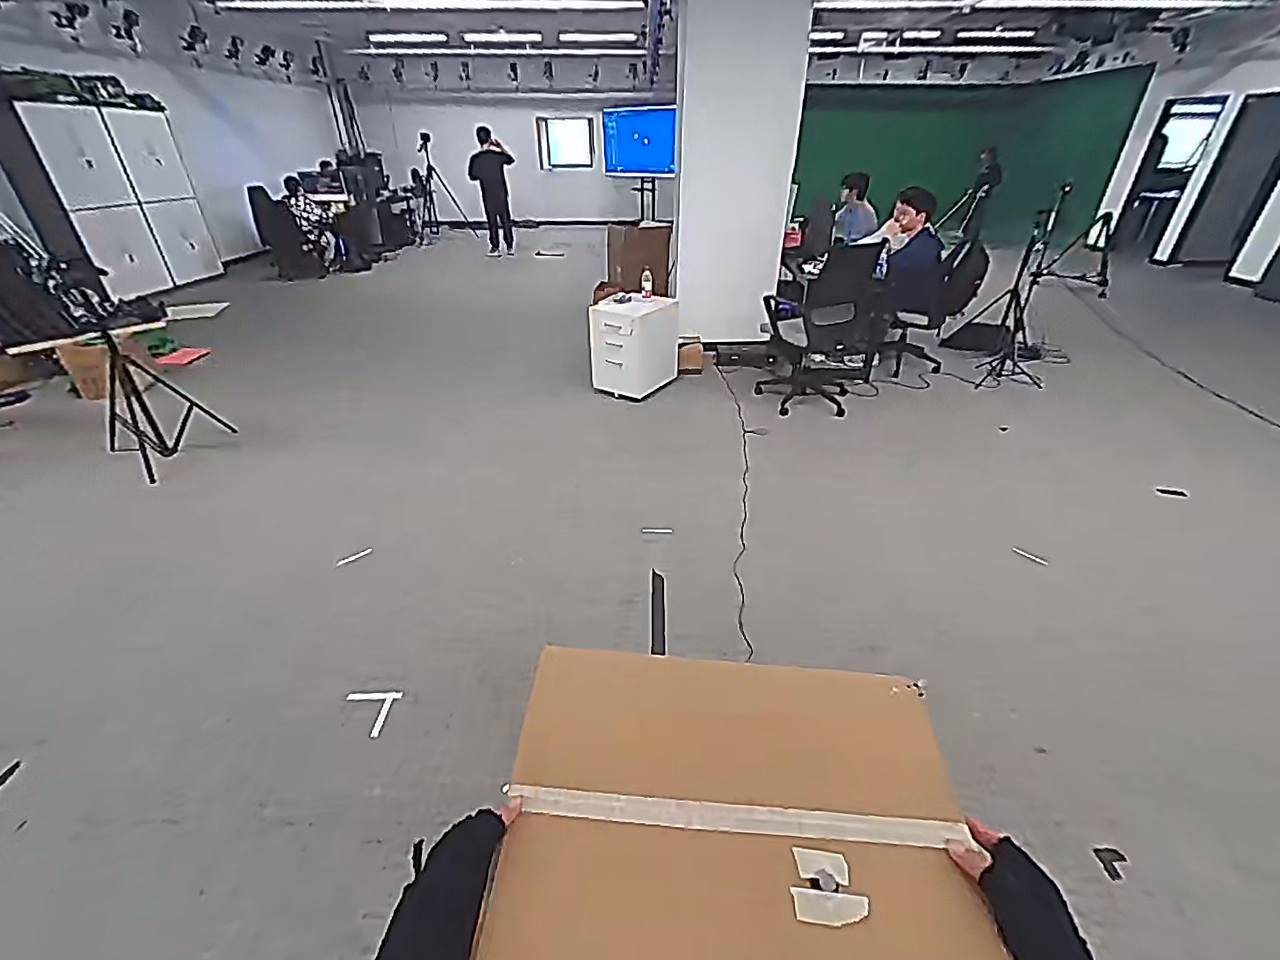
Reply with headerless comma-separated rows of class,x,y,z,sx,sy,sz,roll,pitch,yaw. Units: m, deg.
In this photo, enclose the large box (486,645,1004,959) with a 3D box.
large box,0.081,0.412,0.583,0.408,0.320,0.320,5,40,1
